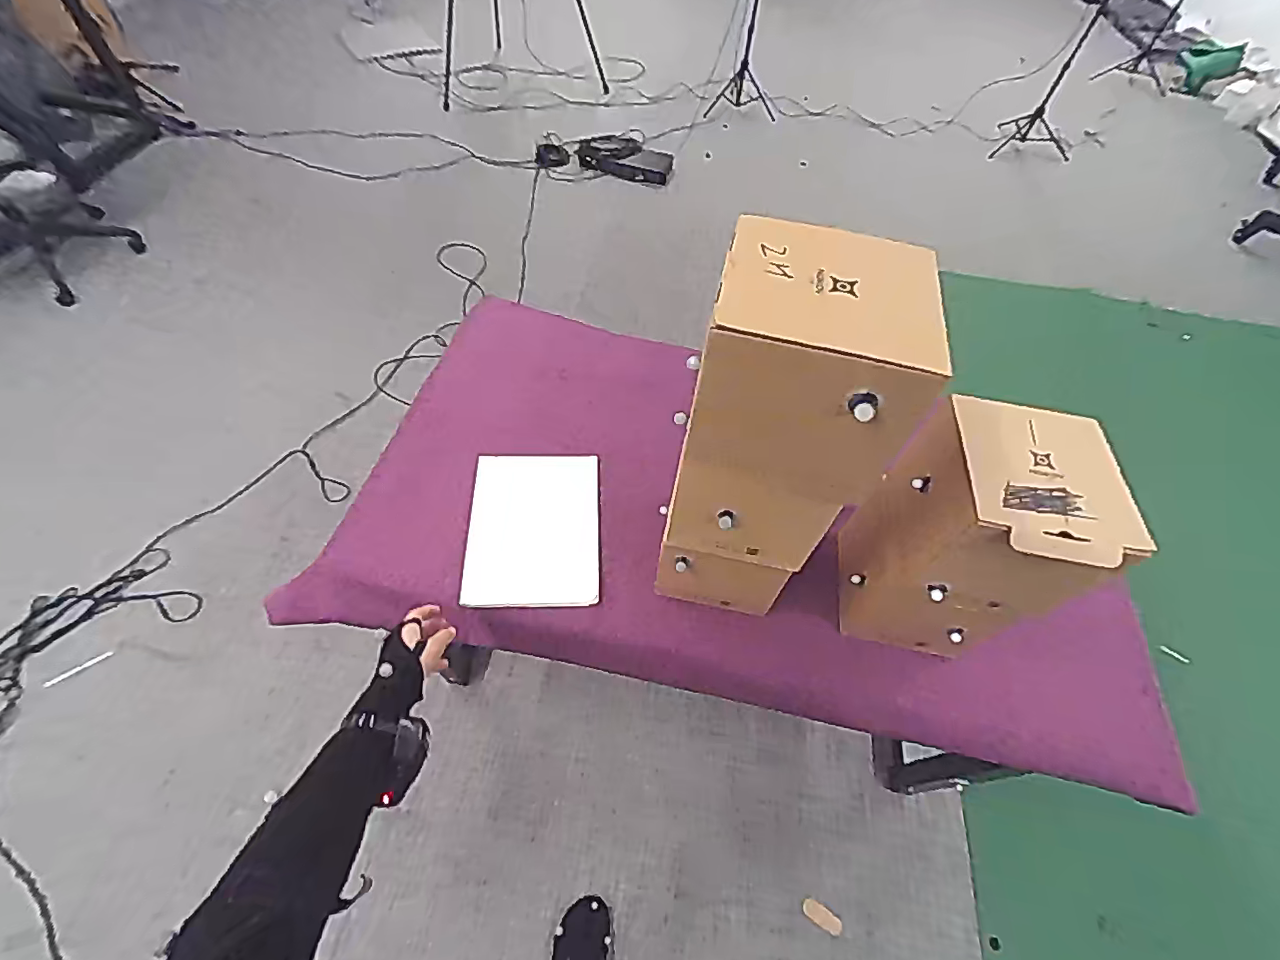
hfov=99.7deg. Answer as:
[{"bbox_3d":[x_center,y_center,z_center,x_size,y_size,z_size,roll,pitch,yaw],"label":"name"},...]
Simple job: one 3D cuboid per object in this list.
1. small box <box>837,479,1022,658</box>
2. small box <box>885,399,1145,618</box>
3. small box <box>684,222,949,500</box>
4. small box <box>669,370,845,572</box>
[{"bbox_3d":[0.387,0.129,0.757,0.168,0.176,0.179,13,54,3],"label":"small box"},{"bbox_3d":[0.402,0.039,0.622,0.168,0.176,0.179,11,54,2],"label":"small box"},{"bbox_3d":[0.149,-0.102,0.499,0.179,0.176,0.168,13,54,6],"label":"small box"},{"bbox_3d":[0.132,-0.013,0.637,0.168,0.176,0.179,12,54,4],"label":"small box"}]
